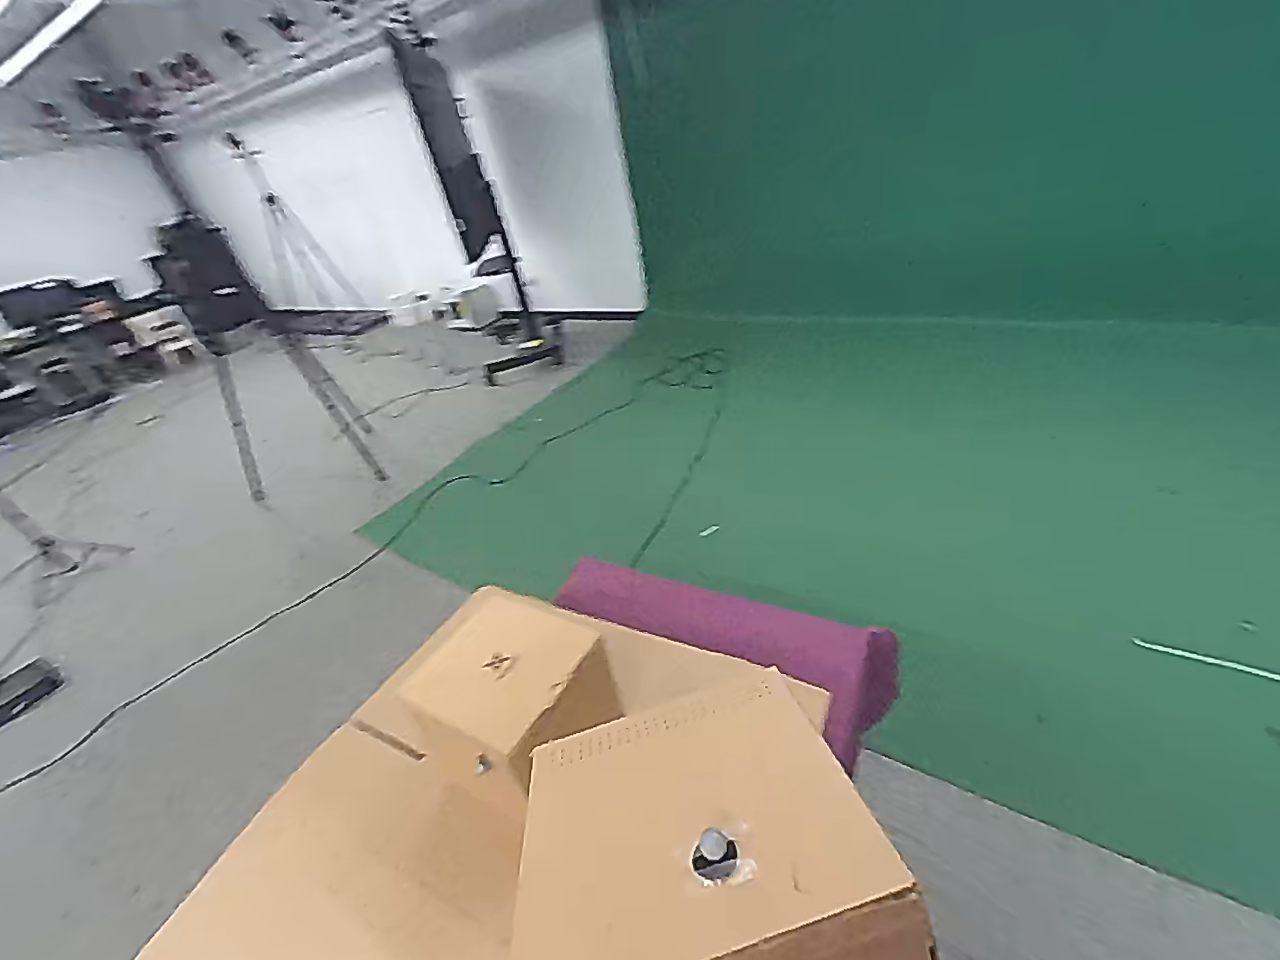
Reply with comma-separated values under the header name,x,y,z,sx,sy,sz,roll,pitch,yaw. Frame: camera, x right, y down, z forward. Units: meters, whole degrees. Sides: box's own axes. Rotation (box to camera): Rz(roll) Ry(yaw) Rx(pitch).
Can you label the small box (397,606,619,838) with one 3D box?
name,x,y,z,sx,sy,sz,roll,pitch,yaw
small box,-0.148,0.286,0.654,0.179,0.176,0.168,10,37,30
